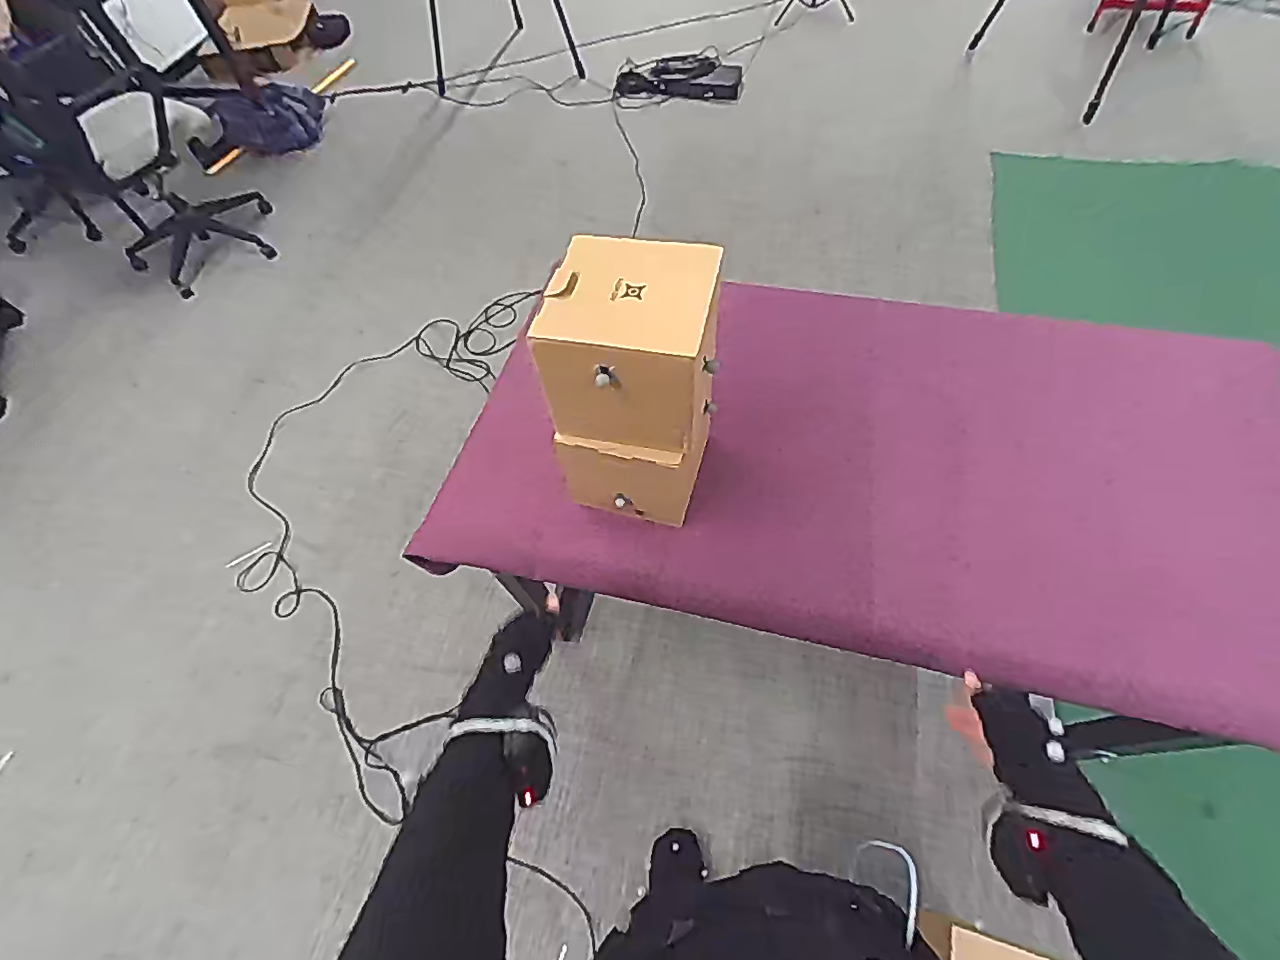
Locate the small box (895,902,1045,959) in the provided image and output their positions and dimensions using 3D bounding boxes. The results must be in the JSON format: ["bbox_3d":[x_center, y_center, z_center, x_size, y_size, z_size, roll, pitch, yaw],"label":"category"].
[{"bbox_3d":[0.524,0.824,0.871,0.168,0.176,0.179,14,61,12],"label":"small box"}]

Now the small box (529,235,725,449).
[{"bbox_3d":[-0.005,-0.155,0.635,0.179,0.176,0.168,10,61,10],"label":"small box"}]

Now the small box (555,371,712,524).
[{"bbox_3d":[-0.002,-0.064,0.771,0.168,0.176,0.179,14,62,12],"label":"small box"}]
